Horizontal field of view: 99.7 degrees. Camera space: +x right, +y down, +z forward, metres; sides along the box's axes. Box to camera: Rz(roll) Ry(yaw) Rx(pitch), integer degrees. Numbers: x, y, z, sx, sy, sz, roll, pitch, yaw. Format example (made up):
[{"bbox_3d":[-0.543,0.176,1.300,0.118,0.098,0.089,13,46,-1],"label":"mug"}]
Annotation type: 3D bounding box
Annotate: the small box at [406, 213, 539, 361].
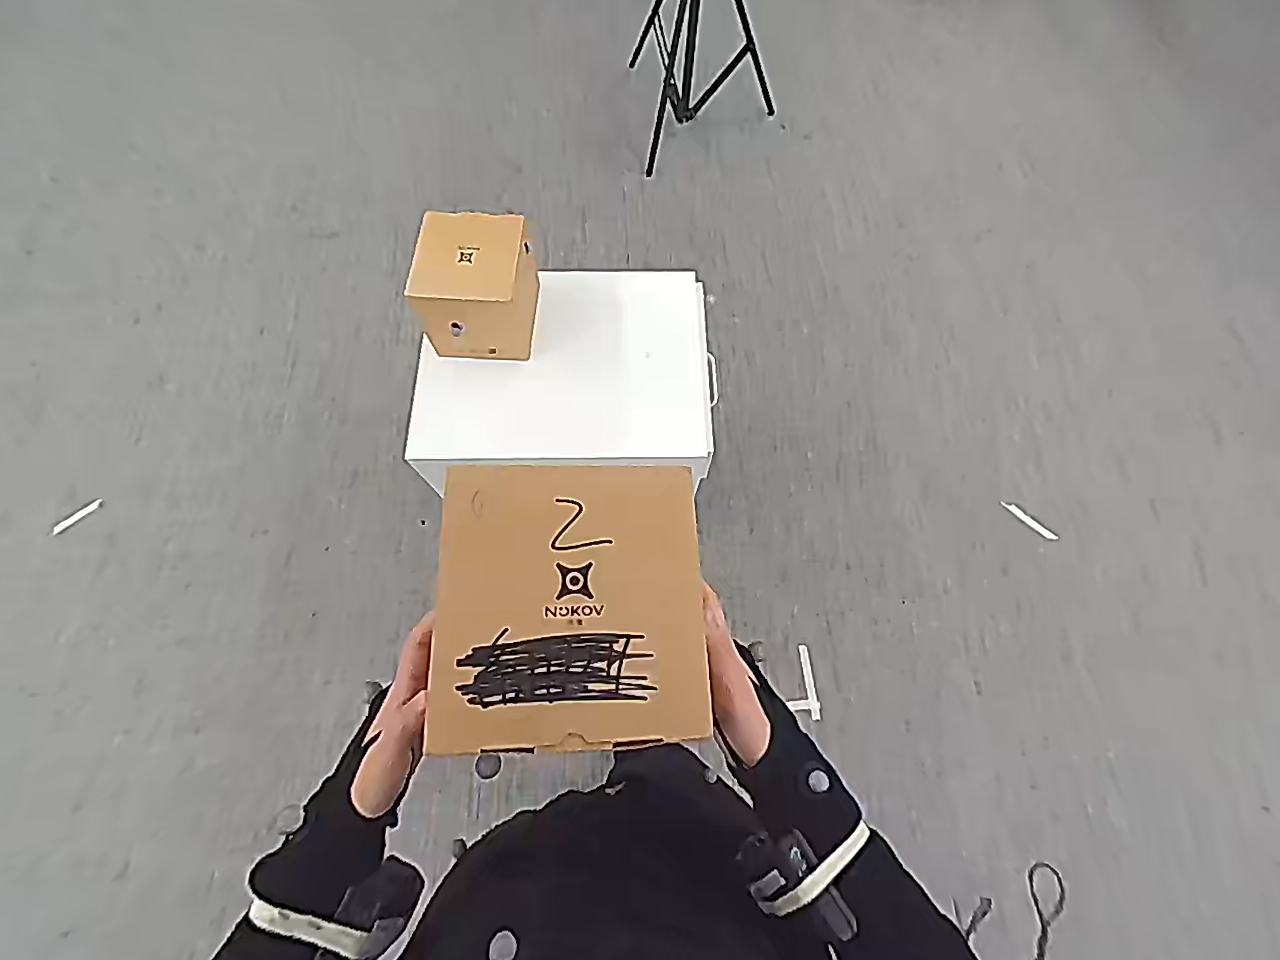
[{"bbox_3d":[-0.272,-0.321,0.923,0.168,0.176,0.179,3,68,-1],"label":"small box"}]
